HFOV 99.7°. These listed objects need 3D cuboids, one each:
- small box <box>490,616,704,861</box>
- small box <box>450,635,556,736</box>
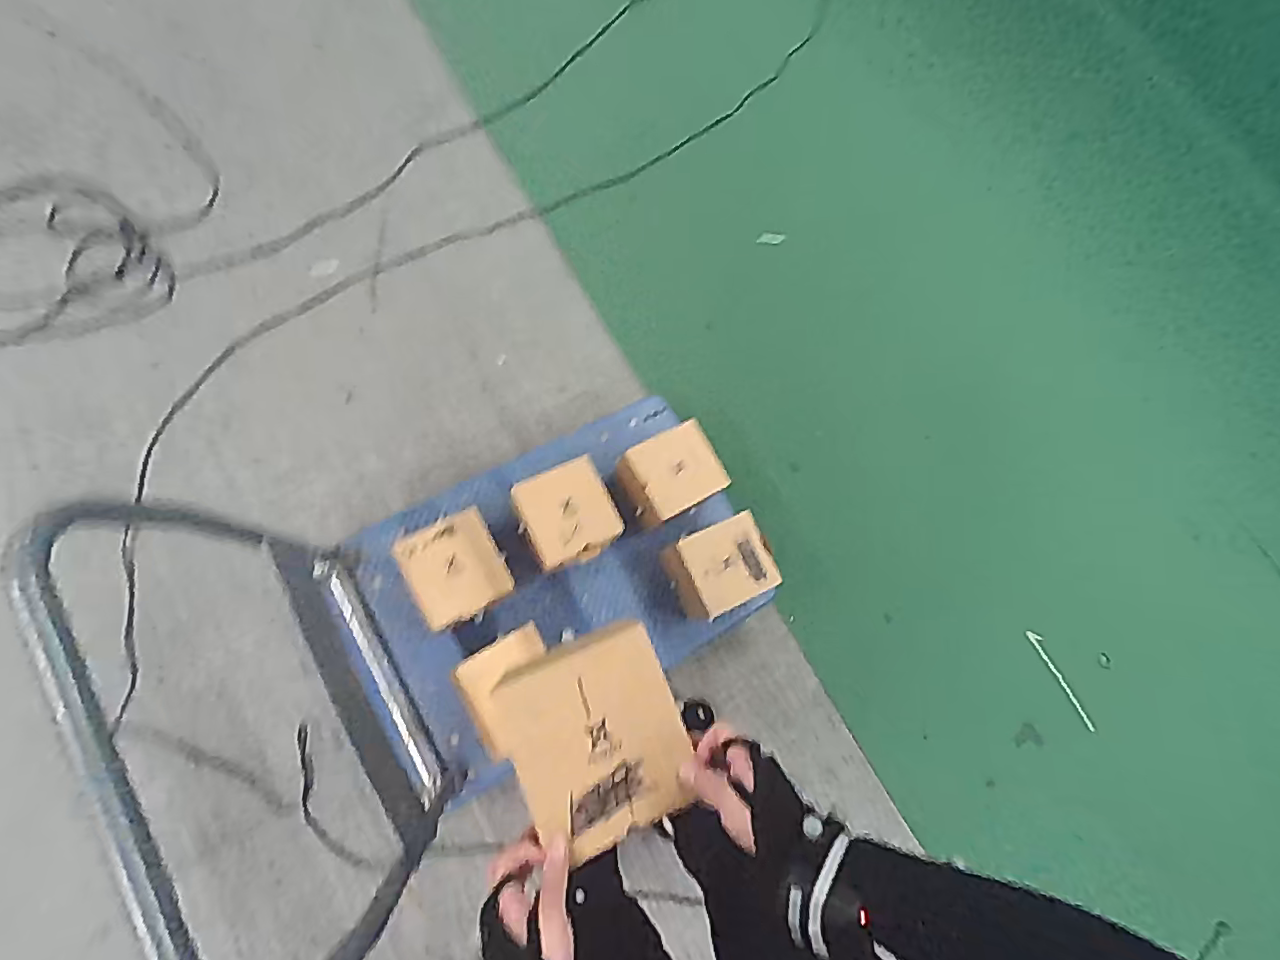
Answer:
[{"bbox_3d":[-0.051,0.263,0.600,0.168,0.176,0.179,-20,81,-12],"label":"small box"},{"bbox_3d":[-0.254,0.386,1.035,0.179,0.176,0.168,3,75,-11],"label":"small box"}]
